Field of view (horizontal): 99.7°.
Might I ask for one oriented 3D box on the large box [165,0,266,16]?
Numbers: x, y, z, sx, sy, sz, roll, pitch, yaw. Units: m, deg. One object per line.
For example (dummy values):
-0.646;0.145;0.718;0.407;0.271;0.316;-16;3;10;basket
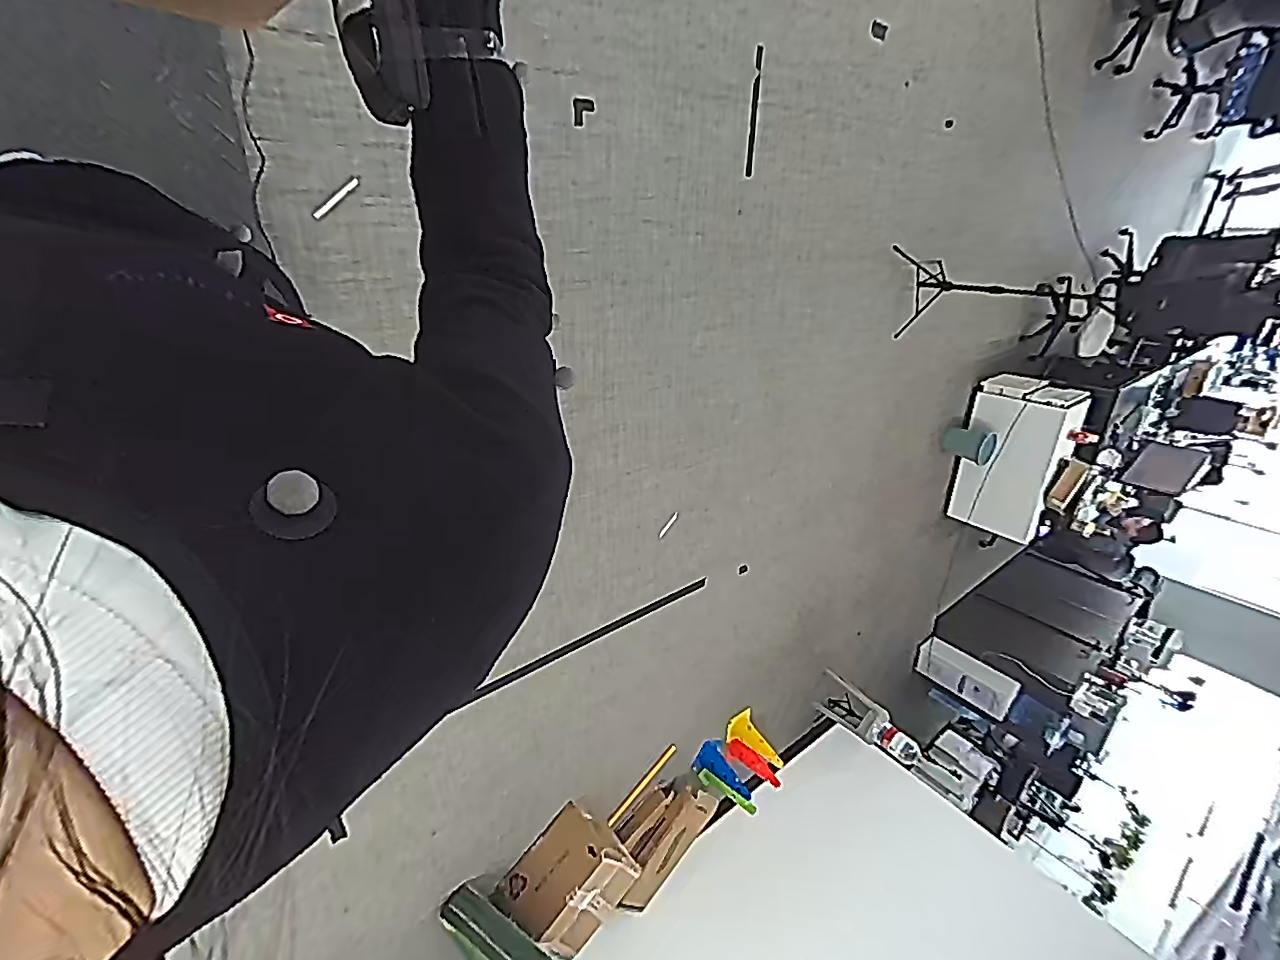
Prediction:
-0.385;-0.428;0.191;0.408;0.320;0.320;-17;127;-37;large box
